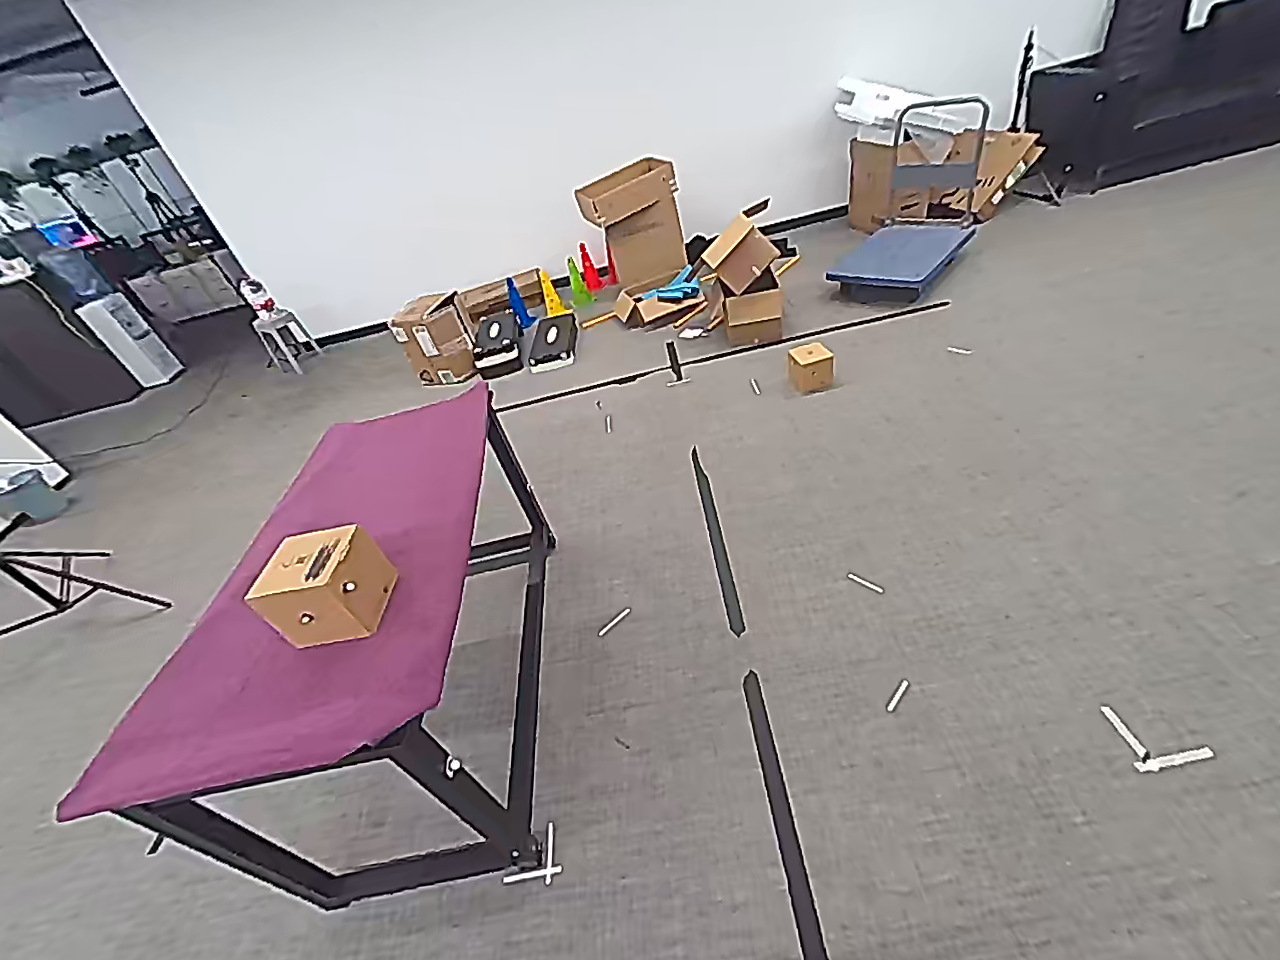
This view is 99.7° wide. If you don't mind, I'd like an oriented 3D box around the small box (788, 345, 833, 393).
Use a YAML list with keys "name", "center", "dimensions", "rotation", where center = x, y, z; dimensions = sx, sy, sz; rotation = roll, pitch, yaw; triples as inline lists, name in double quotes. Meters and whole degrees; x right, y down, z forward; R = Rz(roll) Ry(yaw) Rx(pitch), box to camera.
- name: "small box"
  center: [0.866, -0.556, 2.735]
  dimensions: [0.168, 0.176, 0.179]
  rotation: [-17, 38, -1]
